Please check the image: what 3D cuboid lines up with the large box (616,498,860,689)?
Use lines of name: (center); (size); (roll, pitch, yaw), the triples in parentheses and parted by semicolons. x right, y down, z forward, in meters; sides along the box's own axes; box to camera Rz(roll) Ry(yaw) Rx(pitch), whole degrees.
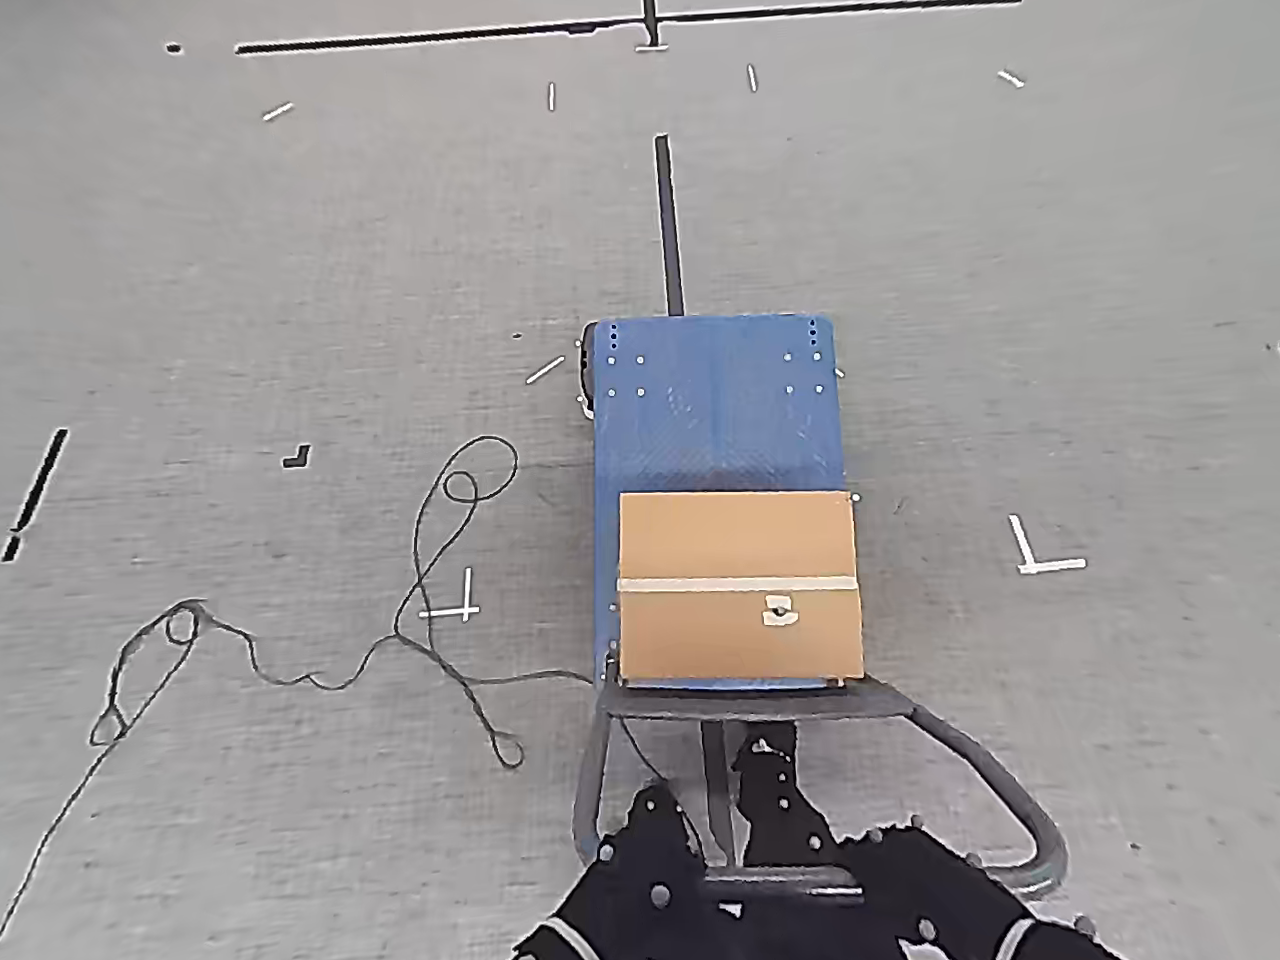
large box: (0.161, 0.210, 1.058); (0.408, 0.320, 0.320); (-1, 82, 0)
